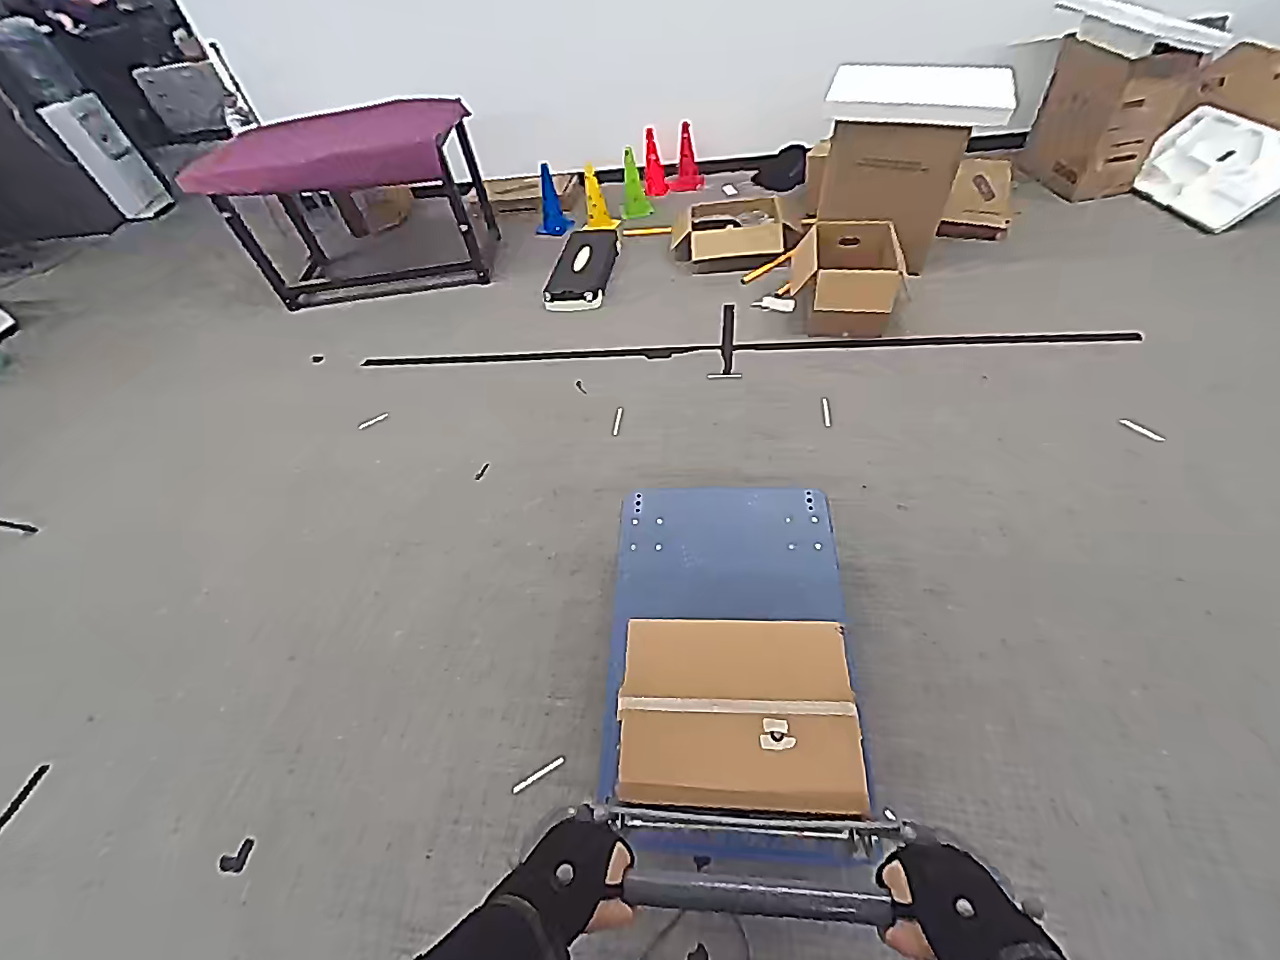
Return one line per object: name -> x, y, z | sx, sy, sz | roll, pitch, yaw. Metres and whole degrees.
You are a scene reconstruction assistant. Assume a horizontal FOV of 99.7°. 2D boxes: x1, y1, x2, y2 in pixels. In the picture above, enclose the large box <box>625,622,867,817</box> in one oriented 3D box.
large box -> 0.188, 0.489, 1.091 | 0.408, 0.320, 0.320 | -1, 56, 6
